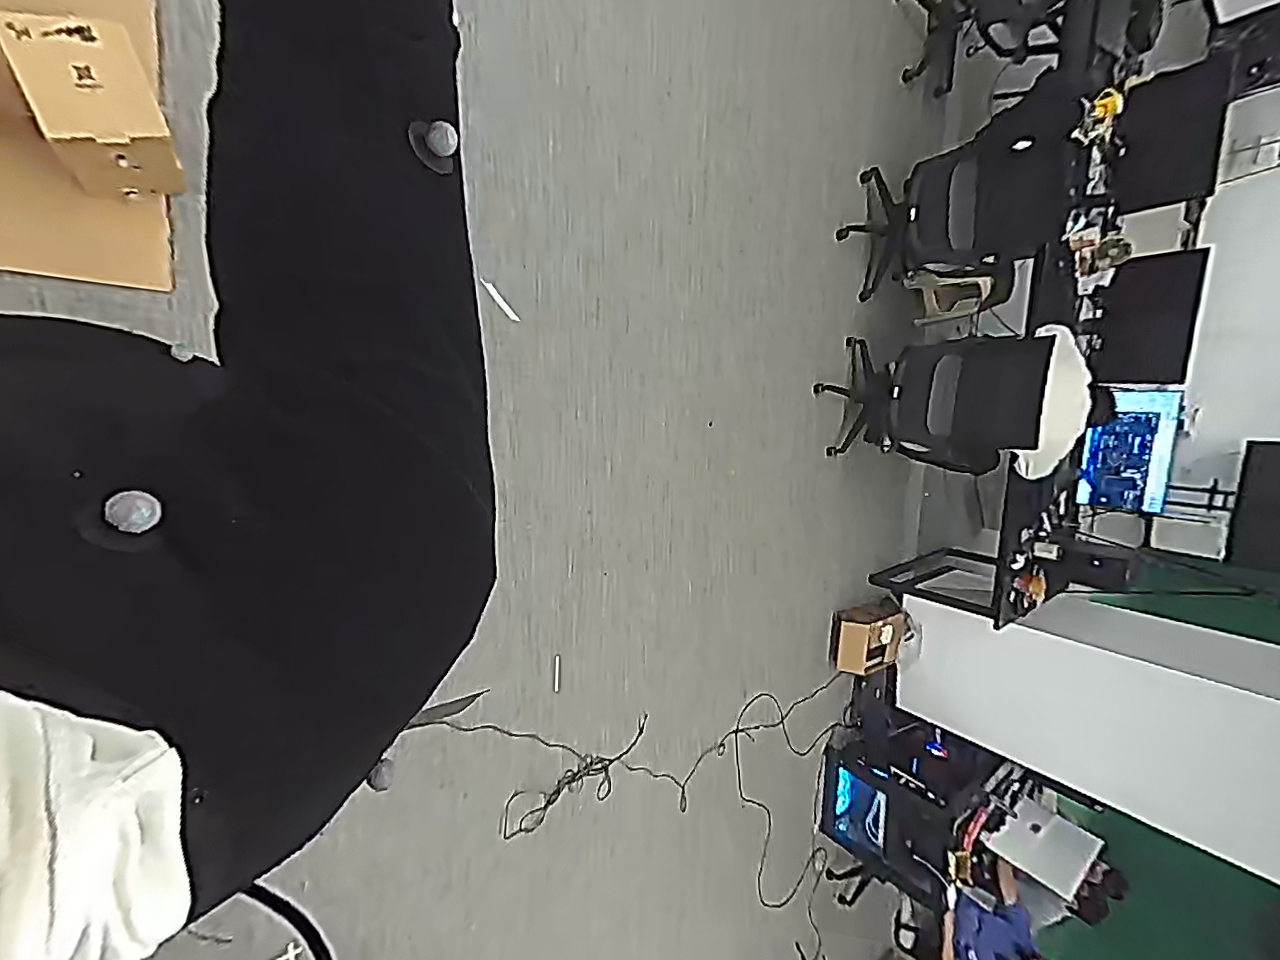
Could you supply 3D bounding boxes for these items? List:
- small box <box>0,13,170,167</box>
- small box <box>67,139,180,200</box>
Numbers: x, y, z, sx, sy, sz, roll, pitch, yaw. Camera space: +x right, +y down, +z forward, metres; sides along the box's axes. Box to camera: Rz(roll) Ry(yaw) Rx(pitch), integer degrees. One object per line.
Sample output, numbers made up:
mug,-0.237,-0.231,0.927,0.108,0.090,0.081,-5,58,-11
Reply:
small box,-0.957,-0.661,0.941,0.168,0.176,0.179,-25,112,-33
small box,-1.053,-0.681,1.072,0.168,0.176,0.179,-27,112,-32
